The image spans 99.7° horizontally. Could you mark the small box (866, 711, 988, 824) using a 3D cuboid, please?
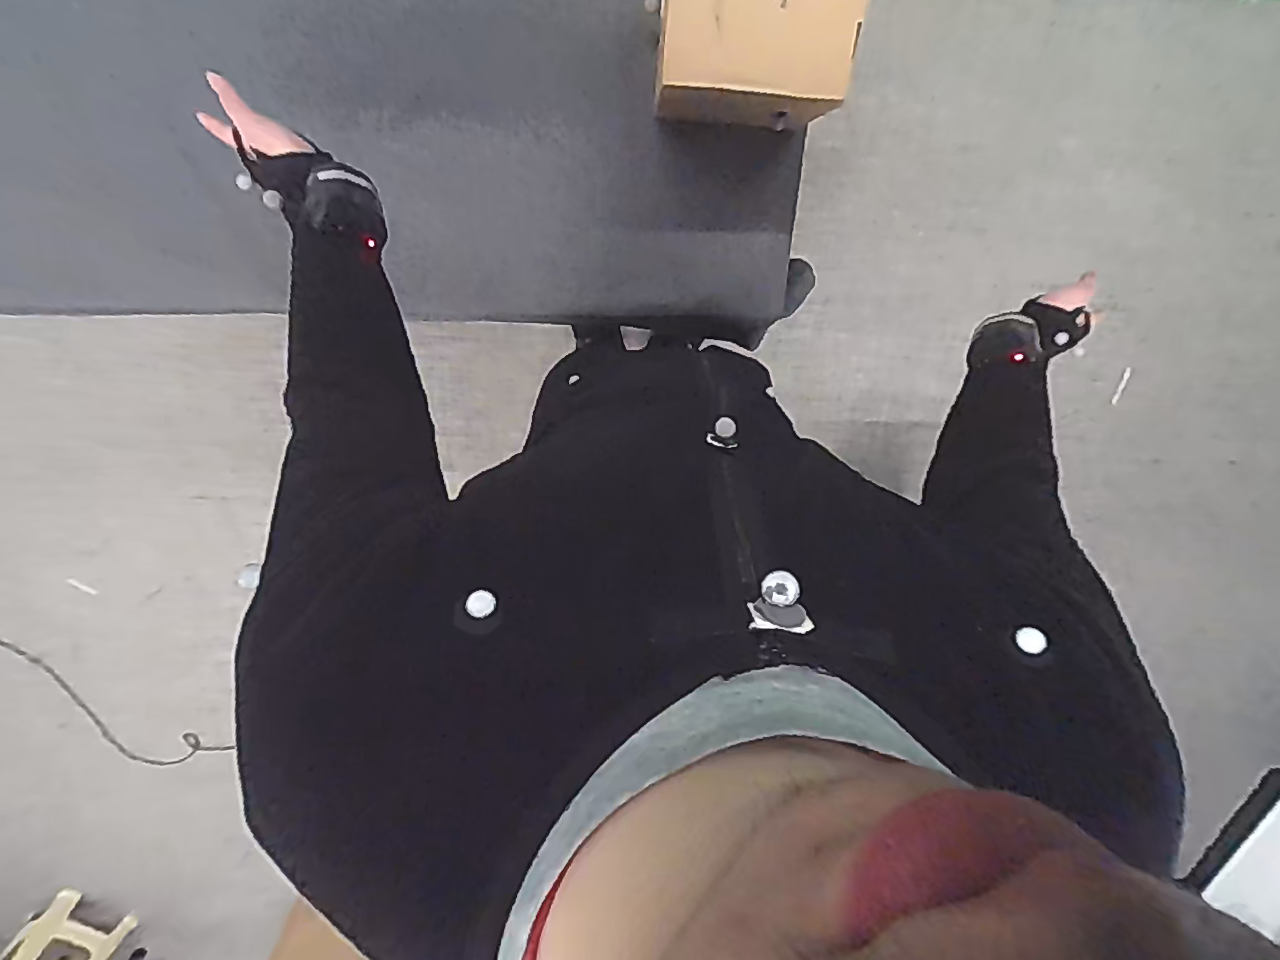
[{"bbox_3d":[0.647,0.657,1.245,0.168,0.176,0.179,4,117,-4],"label":"small box"}]

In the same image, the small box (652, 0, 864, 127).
[{"bbox_3d":[0.107,-0.460,0.532,0.179,0.176,0.168,3,115,-2],"label":"small box"}]
